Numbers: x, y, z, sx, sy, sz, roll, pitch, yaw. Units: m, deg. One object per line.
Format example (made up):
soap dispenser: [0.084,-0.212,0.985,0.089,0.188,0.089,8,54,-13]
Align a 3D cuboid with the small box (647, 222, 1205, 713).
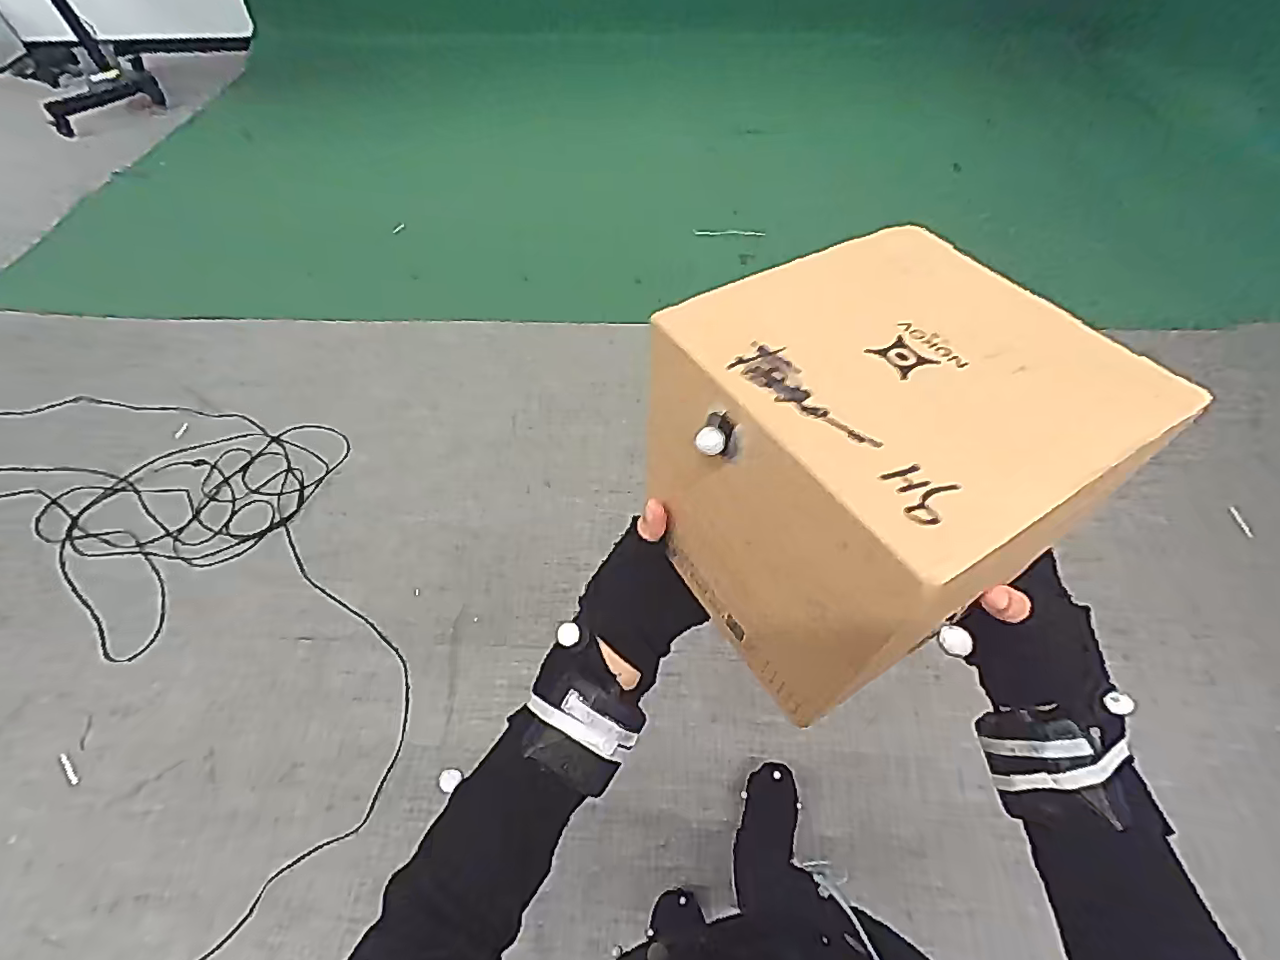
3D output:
small box: [0.116,-0.007,0.296,0.179,0.176,0.168,-25,56,-20]
